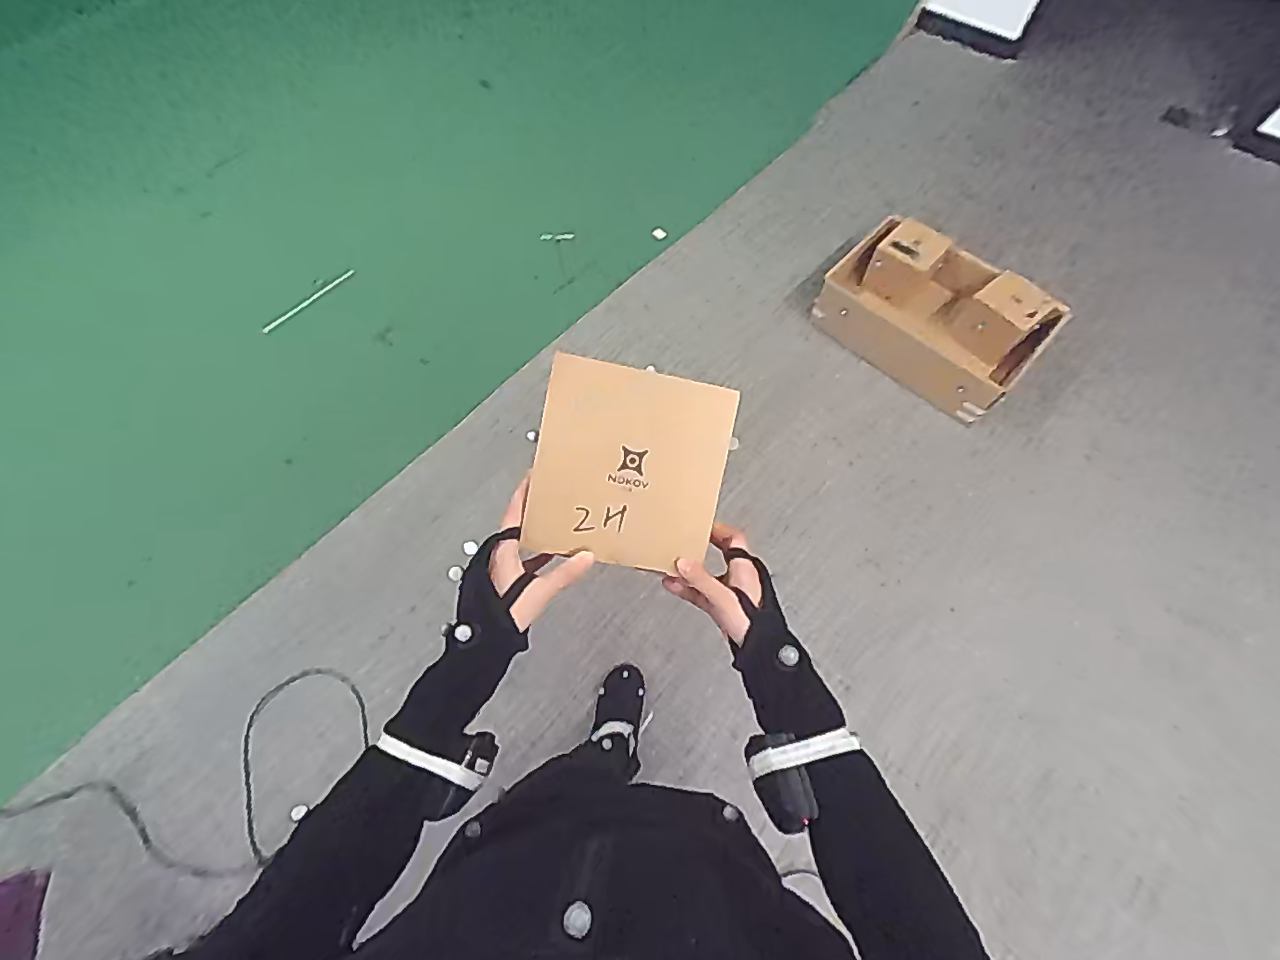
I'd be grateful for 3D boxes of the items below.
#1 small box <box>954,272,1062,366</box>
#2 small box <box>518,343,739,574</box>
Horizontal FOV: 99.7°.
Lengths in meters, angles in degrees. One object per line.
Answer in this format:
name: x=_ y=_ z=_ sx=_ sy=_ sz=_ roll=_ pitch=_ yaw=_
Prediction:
small box: x=1.094 y=-0.480 z=1.625 sx=0.168 sy=0.176 sz=0.179 roll=-35 pitch=67 yaw=-12
small box: x=-0.014 y=-0.024 z=0.551 sx=0.168 sy=0.176 sz=0.179 roll=12 pitch=95 yaw=-3
